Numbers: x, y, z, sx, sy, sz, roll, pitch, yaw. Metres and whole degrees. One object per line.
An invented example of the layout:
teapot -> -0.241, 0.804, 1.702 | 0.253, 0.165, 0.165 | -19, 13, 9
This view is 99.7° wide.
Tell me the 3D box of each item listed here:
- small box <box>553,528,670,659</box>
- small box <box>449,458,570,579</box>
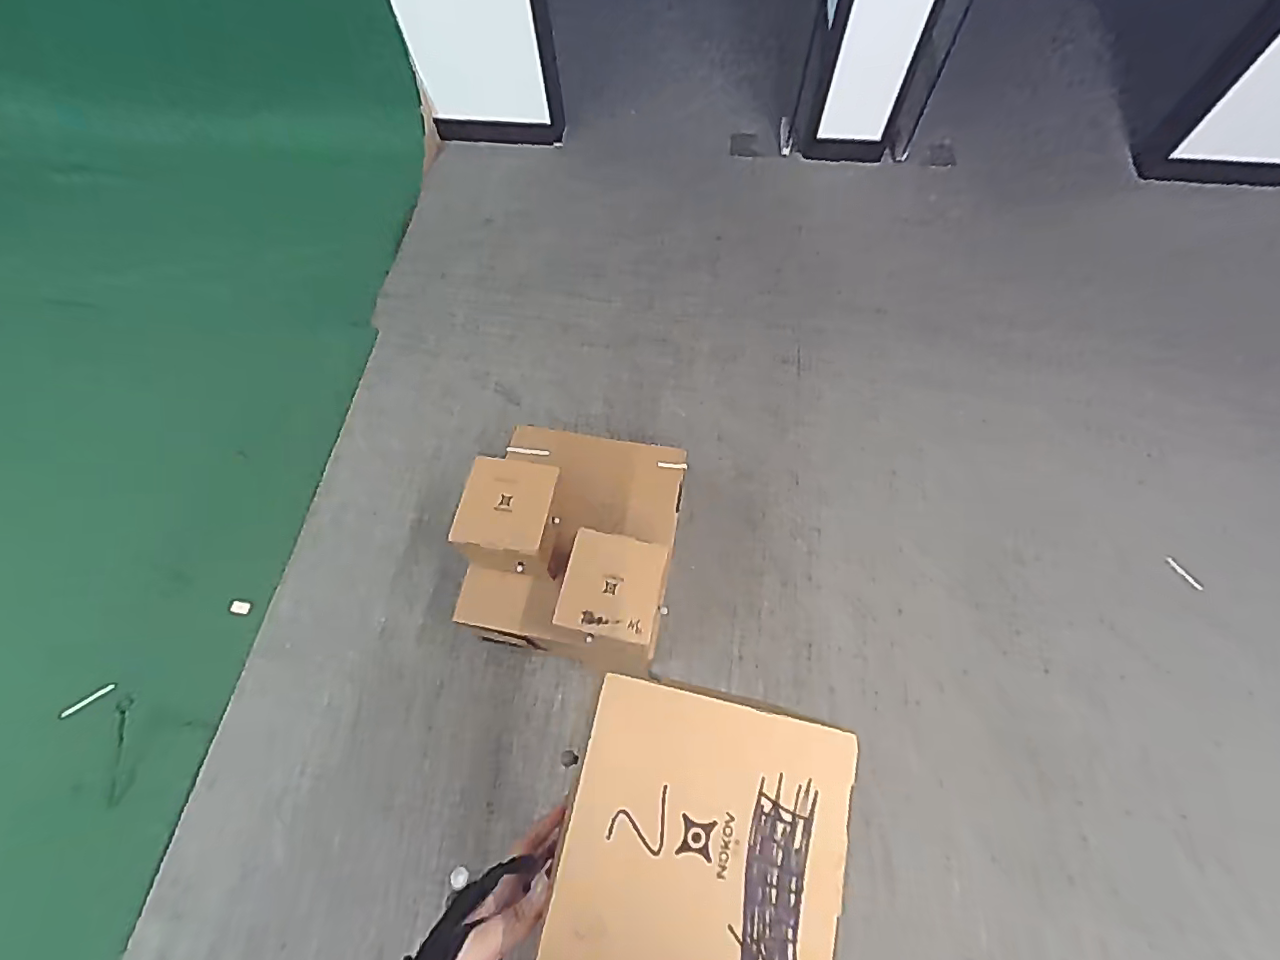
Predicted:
small box -> -0.046, 0.211, 0.983 | 0.168, 0.176, 0.179 | 11, 65, 6
small box -> -0.241, 0.081, 1.055 | 0.168, 0.176, 0.179 | 9, 64, 6
